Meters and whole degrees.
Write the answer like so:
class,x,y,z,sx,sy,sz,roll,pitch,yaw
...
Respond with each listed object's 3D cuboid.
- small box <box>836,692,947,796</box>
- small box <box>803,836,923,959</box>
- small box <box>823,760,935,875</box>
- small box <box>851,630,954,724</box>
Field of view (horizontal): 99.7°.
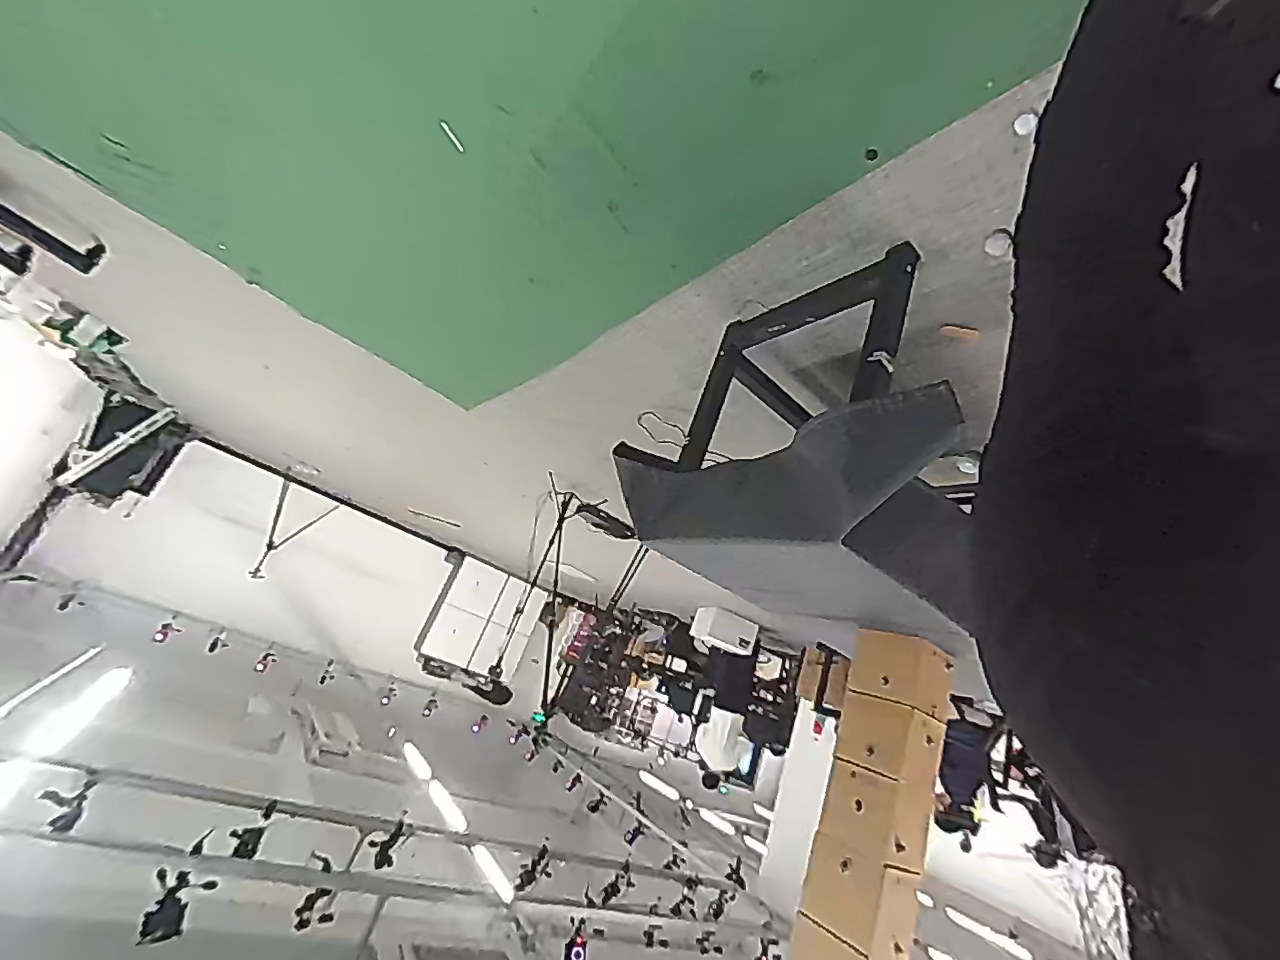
class,x,y,z,sx,sy,sz,roll,pitch,yaw
small box,0.616,0.635,1.320,0.168,0.176,0.179,33,157,-28
small box,0.499,0.918,1.203,0.168,0.176,0.179,34,157,-30
small box,0.559,0.778,1.261,0.179,0.176,0.168,33,157,-29
small box,0.673,0.494,1.376,0.168,0.176,0.179,32,159,-27
